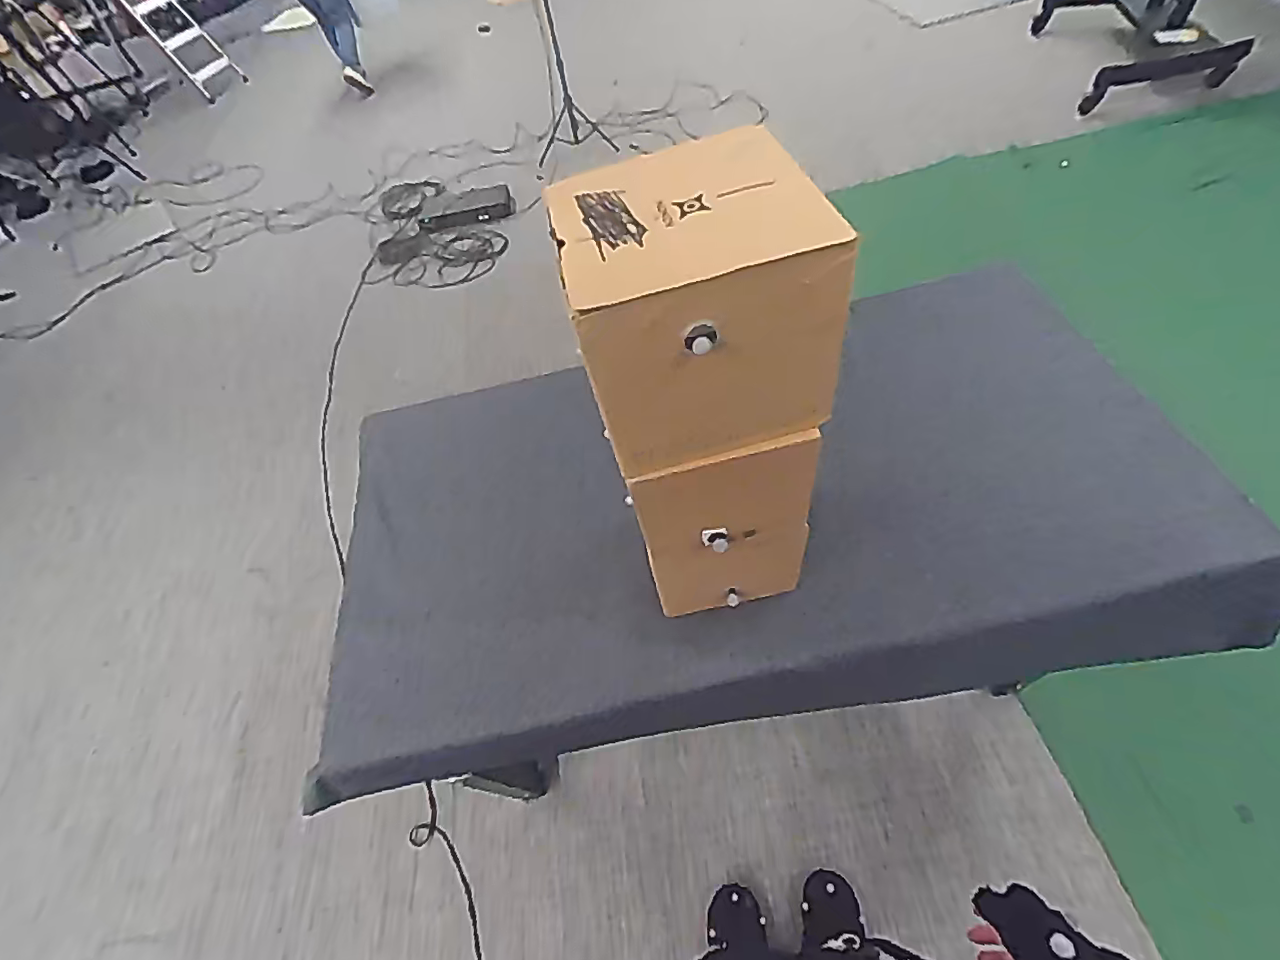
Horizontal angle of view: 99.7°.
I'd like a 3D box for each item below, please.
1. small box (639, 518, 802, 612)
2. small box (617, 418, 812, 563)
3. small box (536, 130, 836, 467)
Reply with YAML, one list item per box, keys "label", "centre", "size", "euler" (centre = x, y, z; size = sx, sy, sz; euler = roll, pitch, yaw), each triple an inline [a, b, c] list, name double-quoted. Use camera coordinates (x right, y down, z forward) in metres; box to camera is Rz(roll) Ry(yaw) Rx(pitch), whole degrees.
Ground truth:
- label: "small box"
  centre: [0.088, 0.051, 0.690]
  size: [0.179, 0.176, 0.168]
  euler: [-12, 54, 2]
- label: "small box"
  centre: [0.062, -0.039, 0.558]
  size: [0.168, 0.176, 0.179]
  euler: [-14, 56, 3]
- label: "small box"
  centre: [0.032, -0.132, 0.426]
  size: [0.179, 0.176, 0.168]
  euler: [-15, 54, 1]
